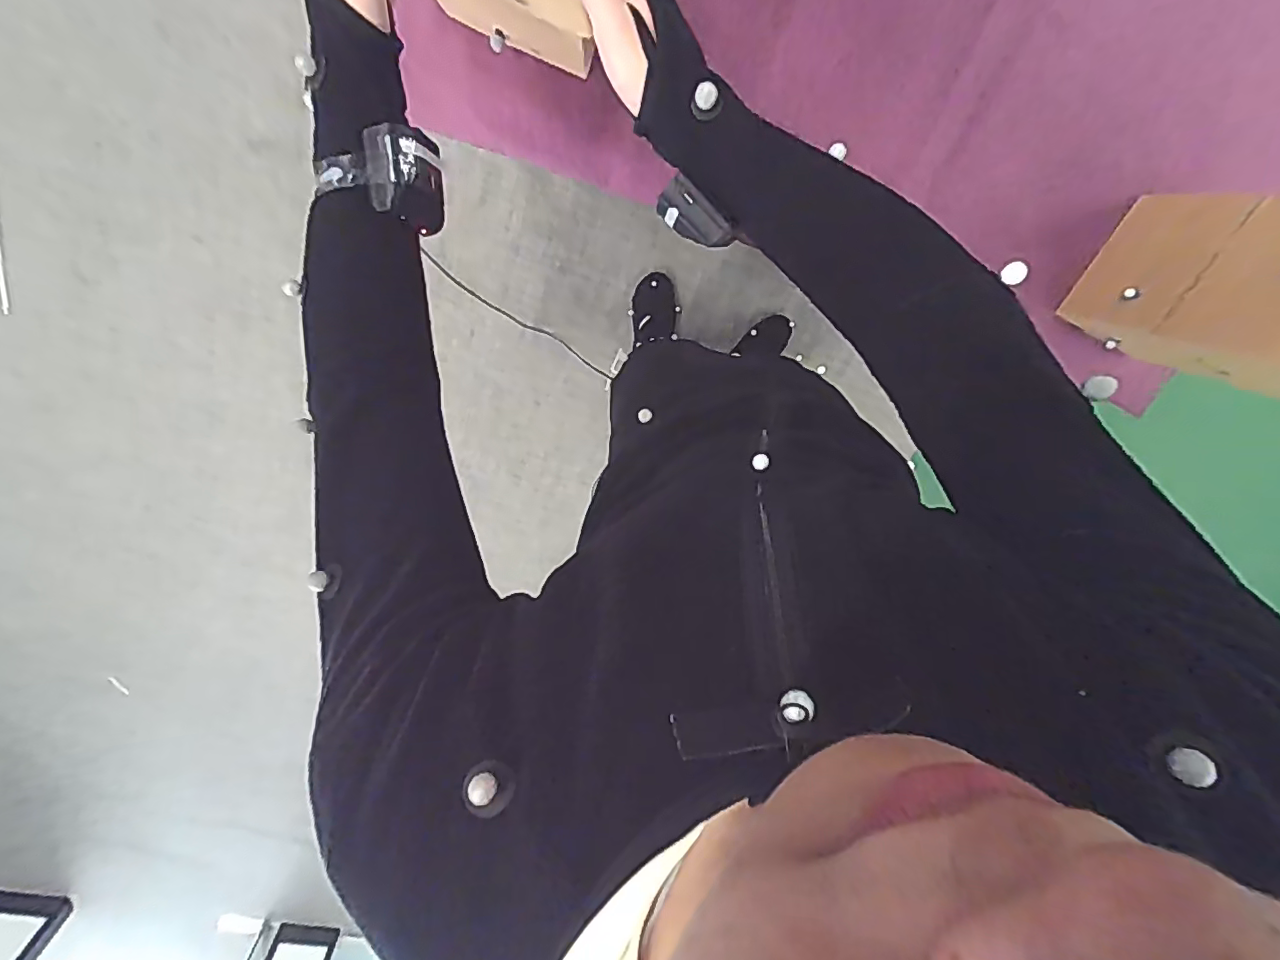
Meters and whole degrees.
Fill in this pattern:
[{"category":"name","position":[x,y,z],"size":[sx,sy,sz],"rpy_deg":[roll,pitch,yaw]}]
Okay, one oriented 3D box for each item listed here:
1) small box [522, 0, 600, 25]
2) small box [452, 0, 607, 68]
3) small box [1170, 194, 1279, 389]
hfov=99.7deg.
[{"category":"small box","position":[-0.092,-0.456,0.366],"size":[0.168,0.176,0.179],"rpy_deg":[16,118,-9]},{"category":"small box","position":[-0.106,-0.551,0.527],"size":[0.168,0.176,0.179],"rpy_deg":[17,114,-11]},{"category":"small box","position":[0.746,-0.193,0.571],"size":[0.168,0.176,0.179],"rpy_deg":[21,112,-12]}]
